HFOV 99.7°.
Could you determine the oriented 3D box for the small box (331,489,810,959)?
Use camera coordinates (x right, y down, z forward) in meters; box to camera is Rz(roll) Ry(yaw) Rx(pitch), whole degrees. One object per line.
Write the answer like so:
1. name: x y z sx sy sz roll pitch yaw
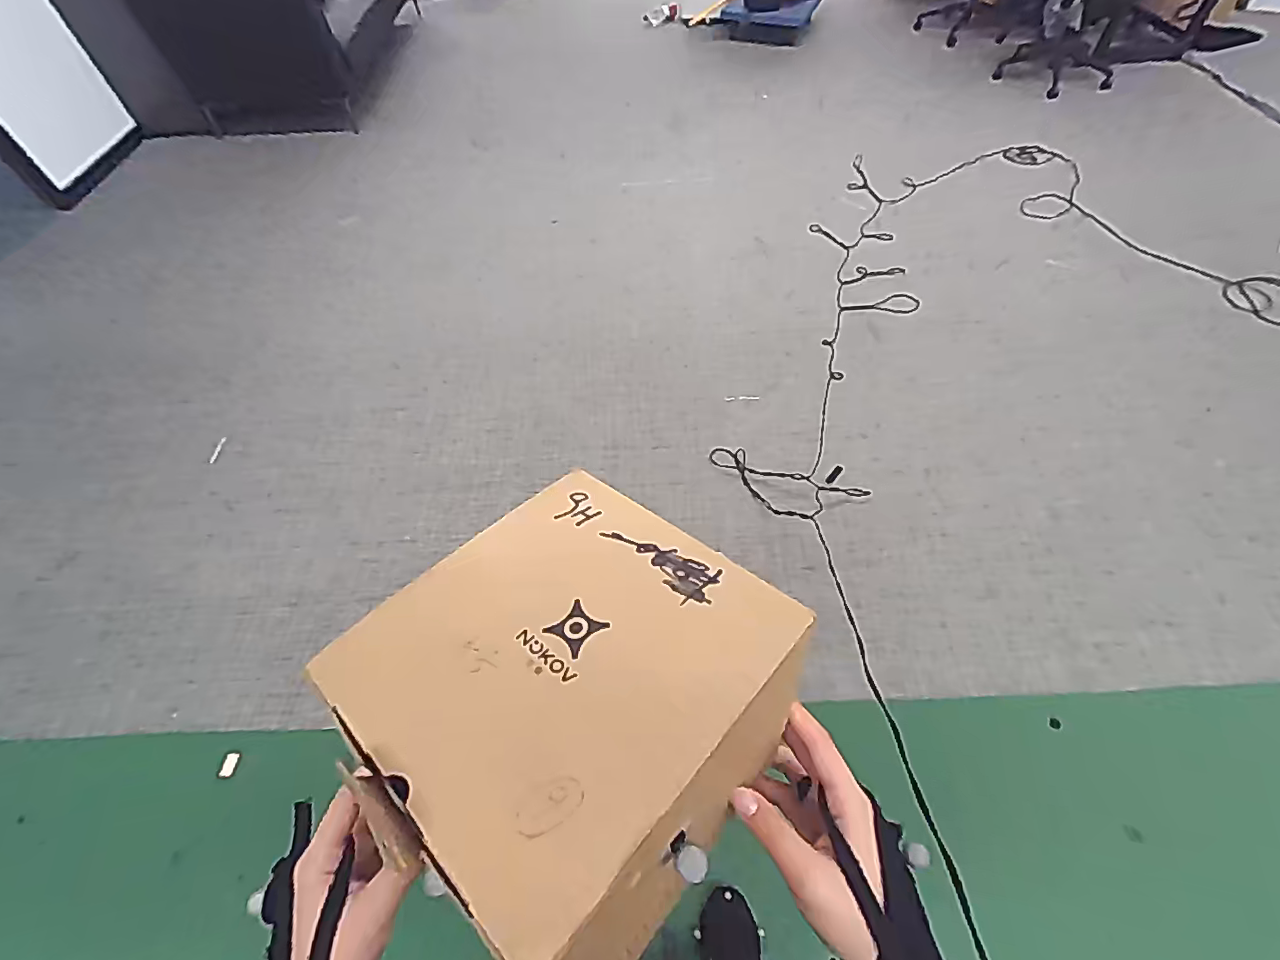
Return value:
1. small box: -0.027 0.144 0.312 0.168 0.176 0.179 30 53 31
